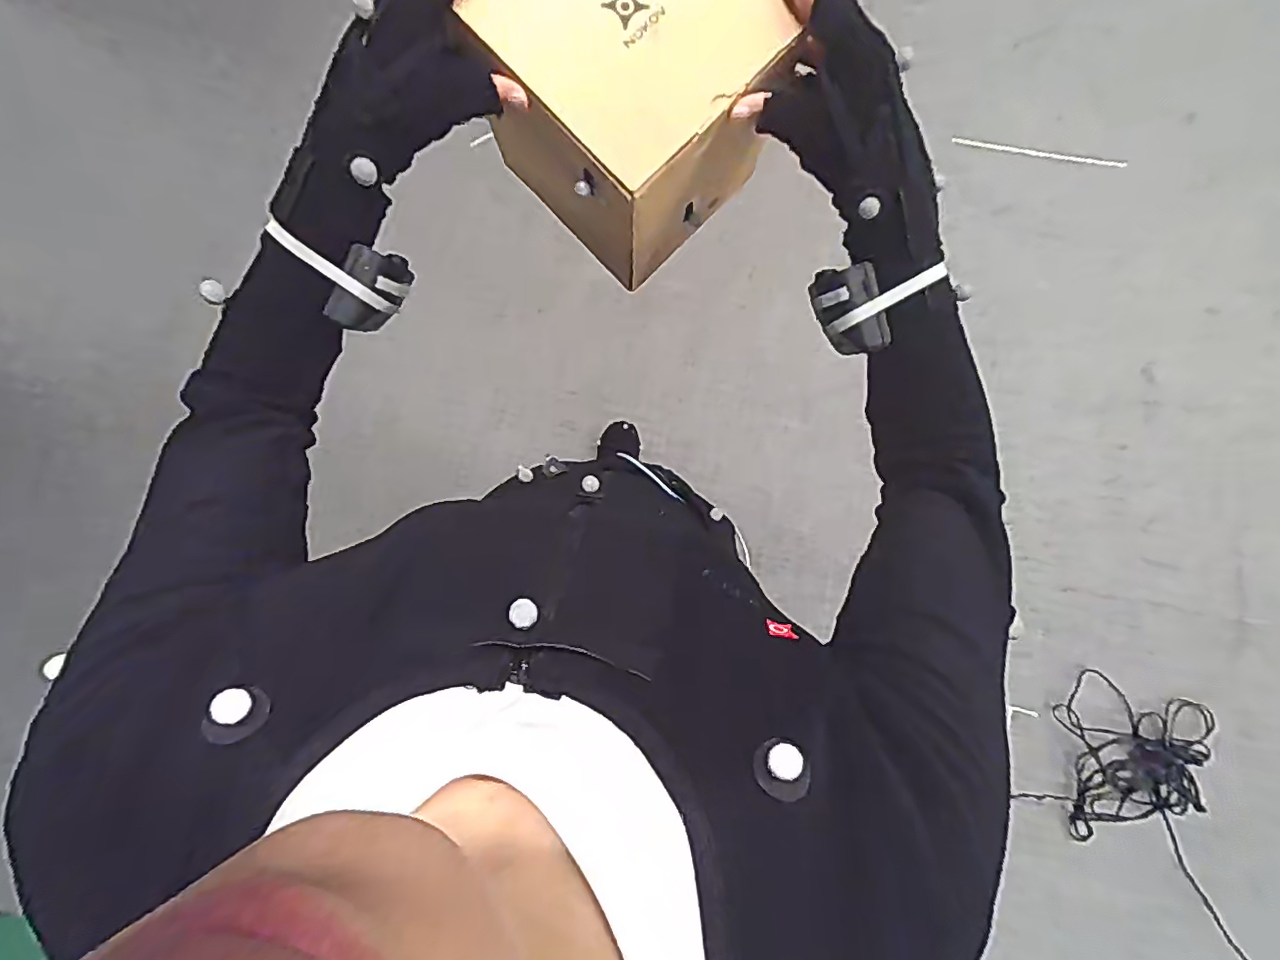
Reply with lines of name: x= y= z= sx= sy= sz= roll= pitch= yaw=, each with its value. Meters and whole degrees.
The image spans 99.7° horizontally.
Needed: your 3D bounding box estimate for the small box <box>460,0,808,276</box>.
small box: x=-0.007 y=-0.304 z=0.437 sx=0.168 sy=0.176 sz=0.179 roll=-44 pitch=91 yaw=-2
